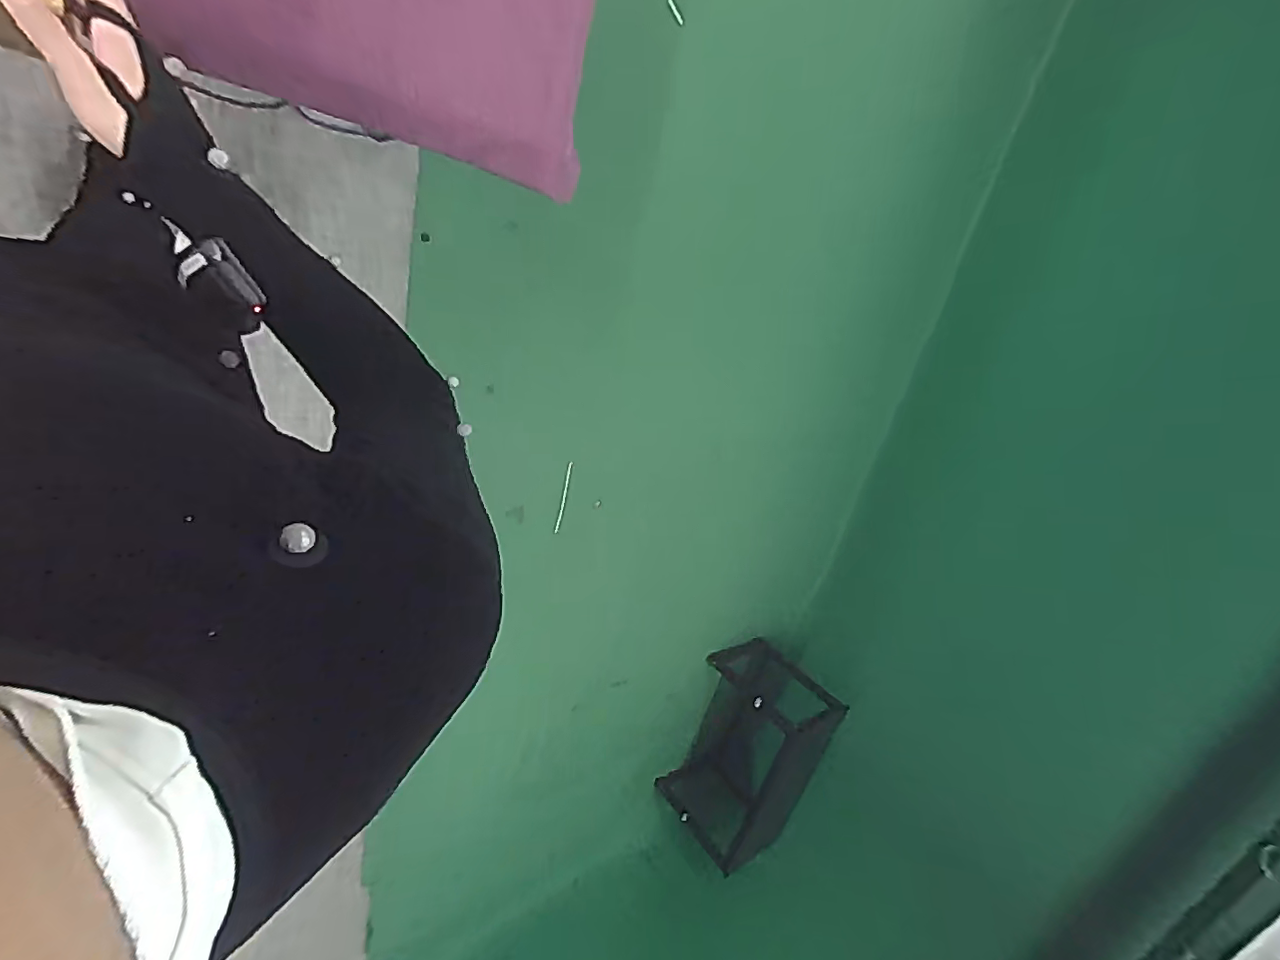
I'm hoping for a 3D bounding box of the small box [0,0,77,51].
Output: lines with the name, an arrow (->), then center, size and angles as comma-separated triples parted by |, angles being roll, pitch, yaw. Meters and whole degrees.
small box -> -0.499, -0.430, 0.354 | 0.168, 0.176, 0.179 | -7, 114, -42
